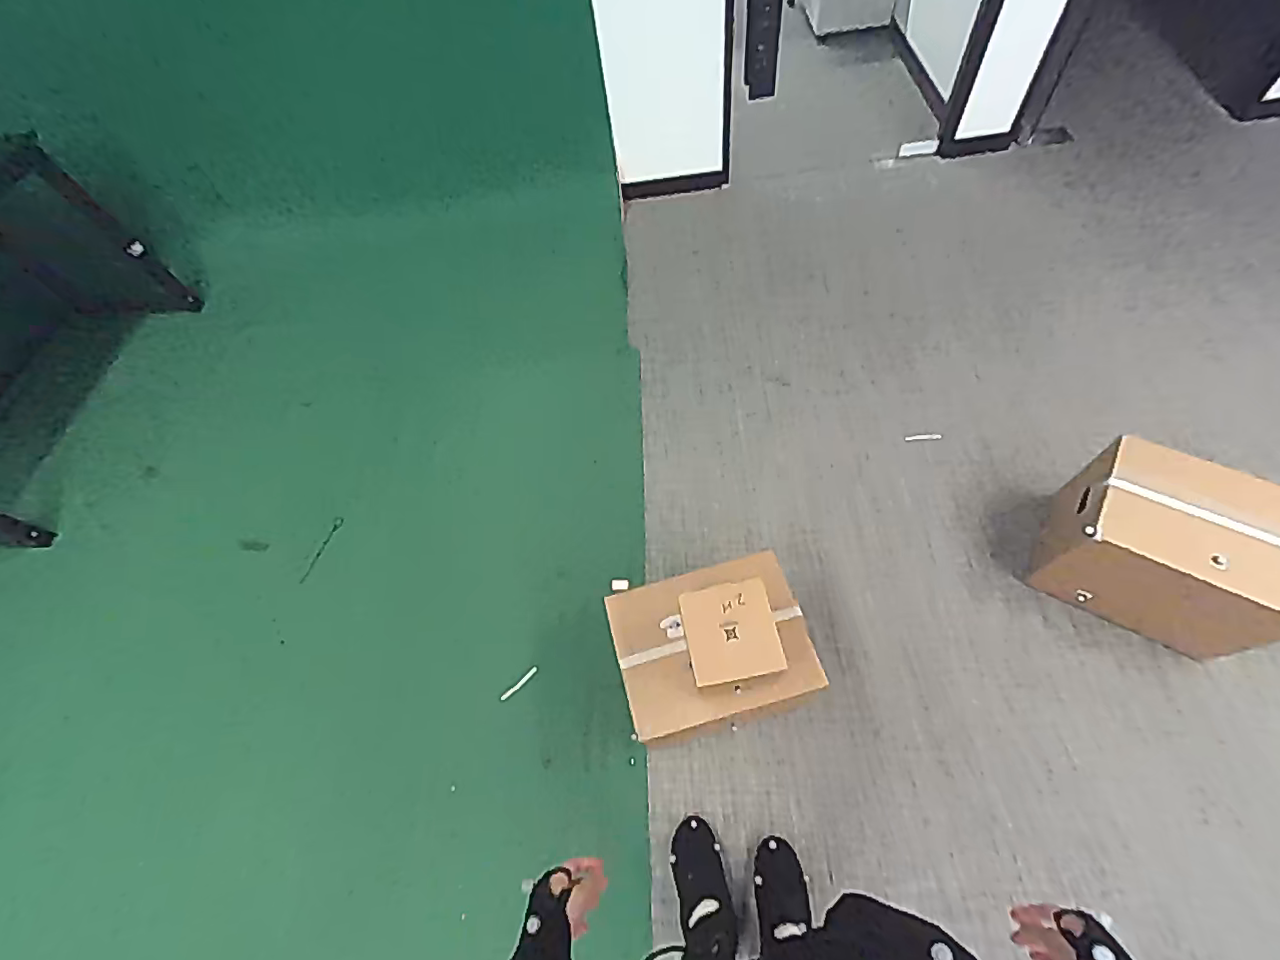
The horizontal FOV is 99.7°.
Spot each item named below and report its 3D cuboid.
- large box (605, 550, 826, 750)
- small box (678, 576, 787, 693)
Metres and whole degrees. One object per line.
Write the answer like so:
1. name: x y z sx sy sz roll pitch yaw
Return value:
1. large box: 0.168 0.413 1.279 0.408 0.320 0.320 -16 58 -1
2. small box: 0.173 0.307 1.051 0.168 0.176 0.179 -10 60 0
